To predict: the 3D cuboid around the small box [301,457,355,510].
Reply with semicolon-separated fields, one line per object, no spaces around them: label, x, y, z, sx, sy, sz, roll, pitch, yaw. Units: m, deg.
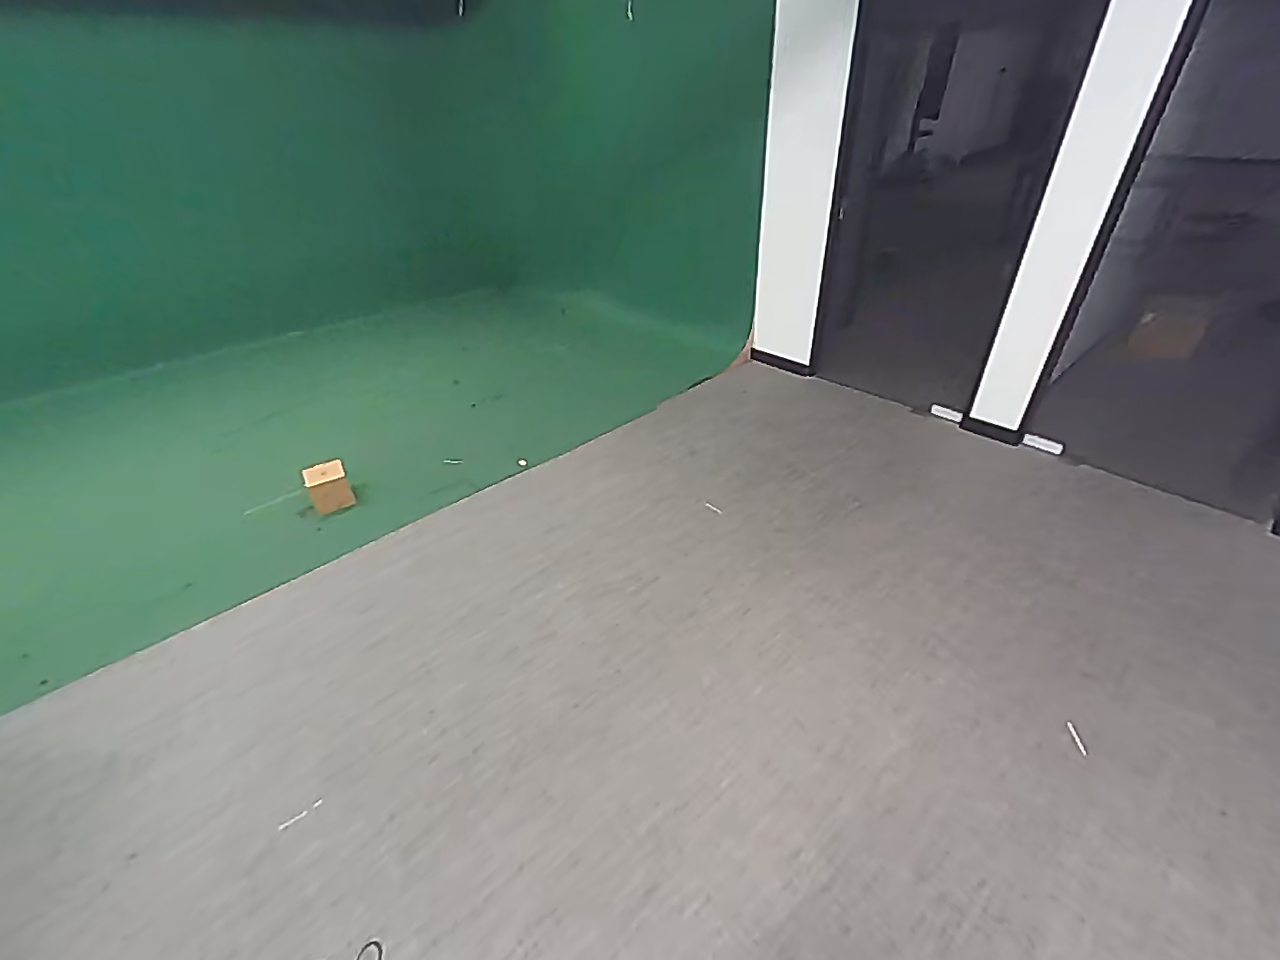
small box;-1.475;0.023;2.560;0.168;0.176;0.179;-22;40;-26
